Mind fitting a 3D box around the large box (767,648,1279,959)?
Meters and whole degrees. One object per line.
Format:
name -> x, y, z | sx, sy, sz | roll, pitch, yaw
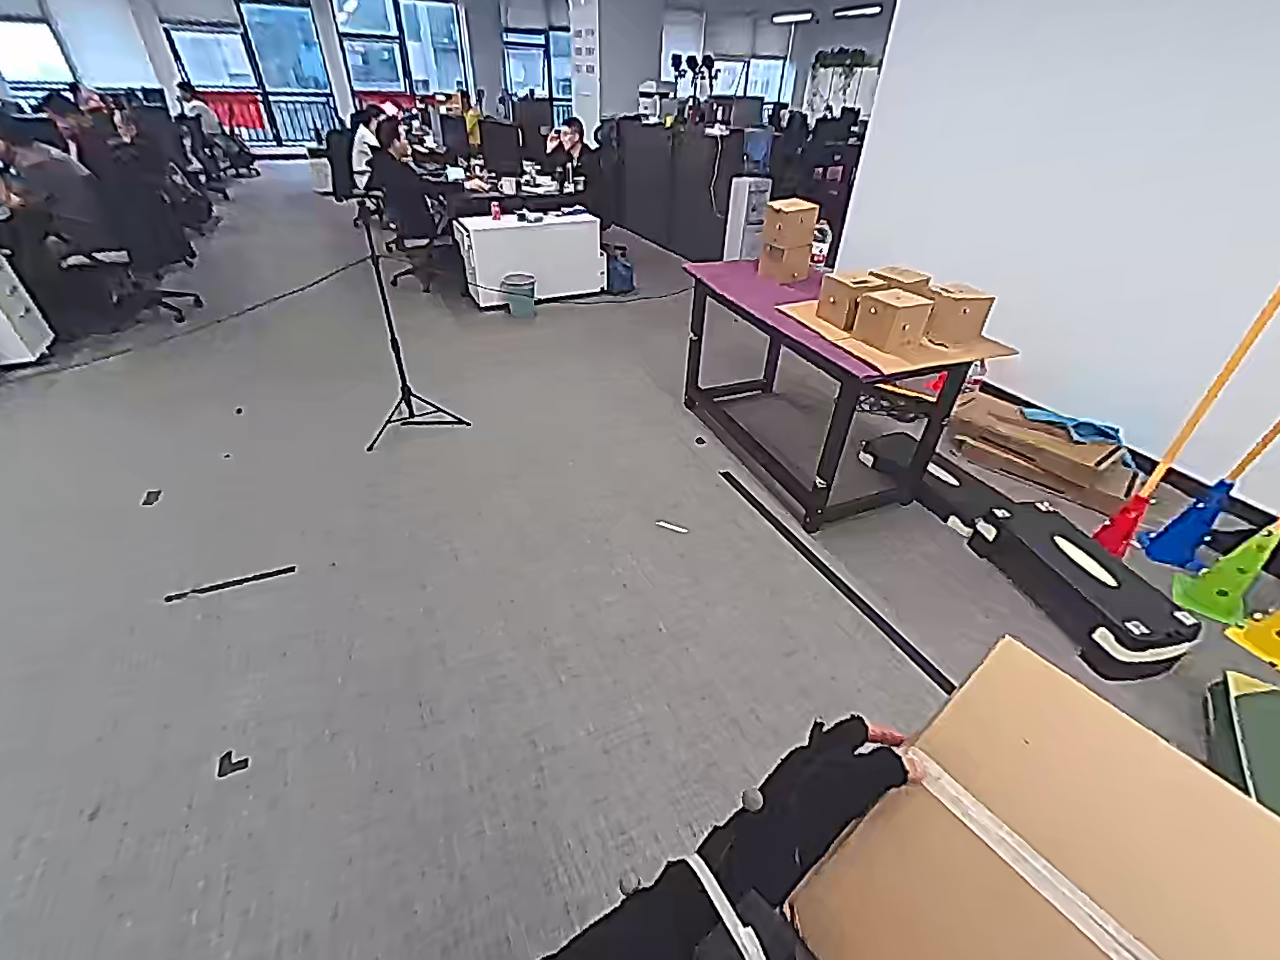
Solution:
large box -> 0.365, 0.434, 0.451 | 0.320, 0.320, 0.408 | -35, 52, -21
